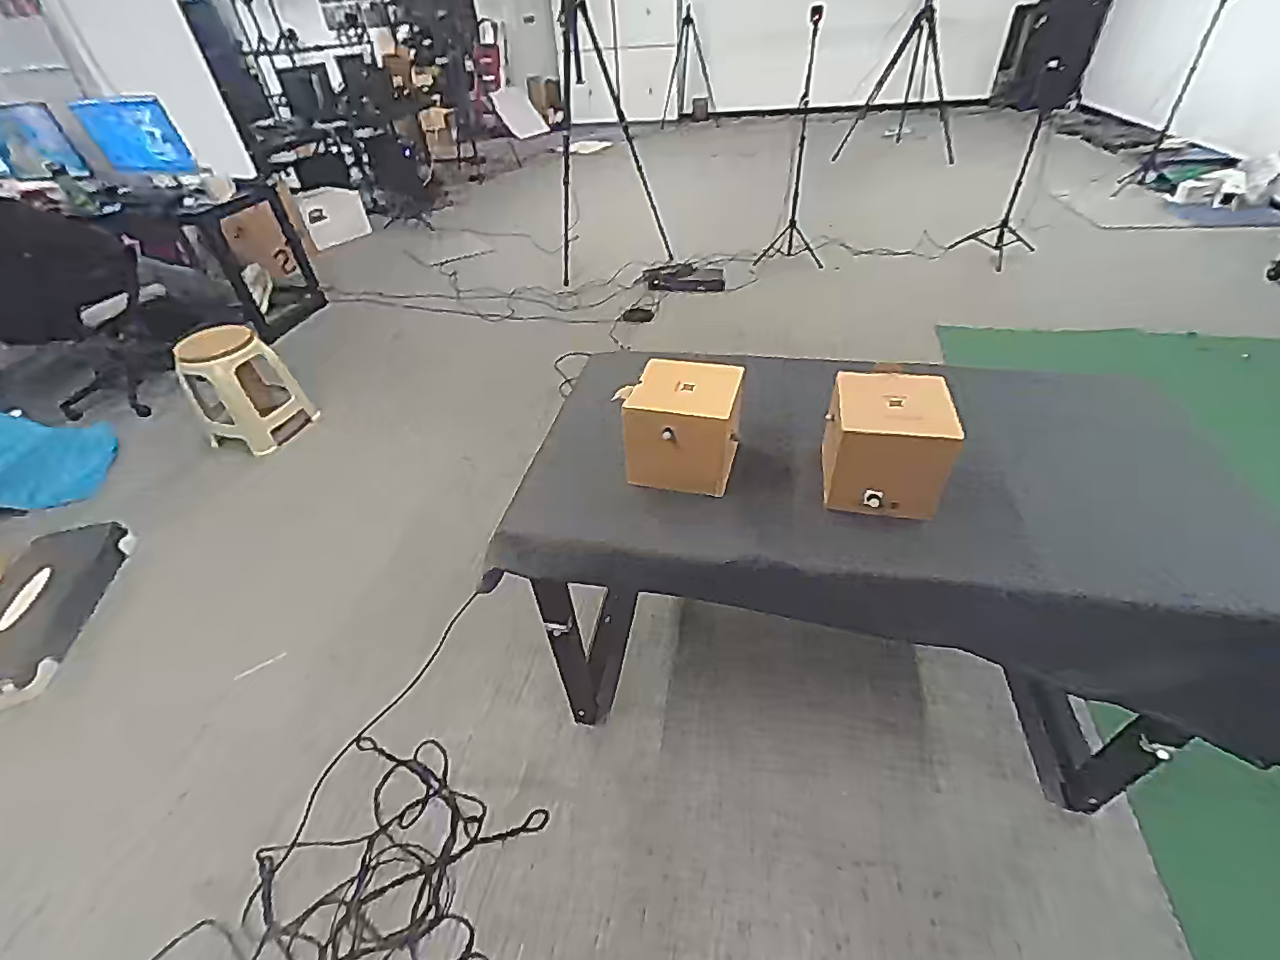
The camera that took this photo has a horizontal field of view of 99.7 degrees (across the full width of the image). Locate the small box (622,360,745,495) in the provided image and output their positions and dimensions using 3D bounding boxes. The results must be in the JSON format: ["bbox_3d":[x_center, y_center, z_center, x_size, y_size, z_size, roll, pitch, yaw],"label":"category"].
[{"bbox_3d":[0.081,-0.092,0.959,0.179,0.176,0.168,9,42,15],"label":"small box"}]

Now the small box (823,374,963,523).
[{"bbox_3d":[0.400,-0.055,0.890,0.168,0.176,0.179,5,42,12],"label":"small box"}]
